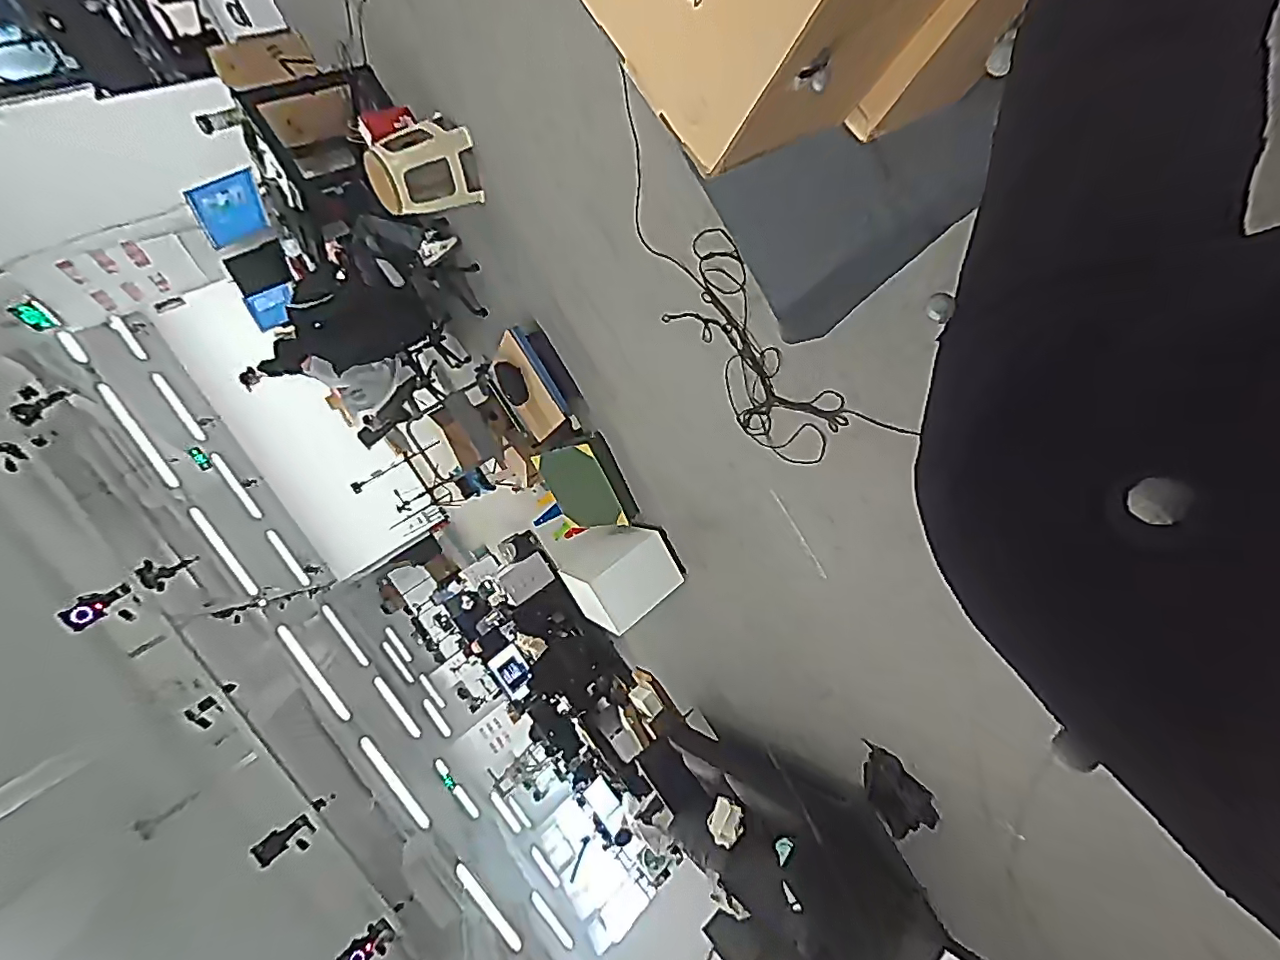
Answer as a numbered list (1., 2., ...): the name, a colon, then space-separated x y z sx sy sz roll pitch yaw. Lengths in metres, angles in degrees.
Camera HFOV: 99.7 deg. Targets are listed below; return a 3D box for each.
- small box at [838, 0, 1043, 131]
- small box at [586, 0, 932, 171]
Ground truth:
1. small box: 0.219 -0.420 0.414 0.179 0.176 0.168 53 156 2
2. small box: 0.091 -0.347 0.342 0.168 0.176 0.179 54 155 -2
